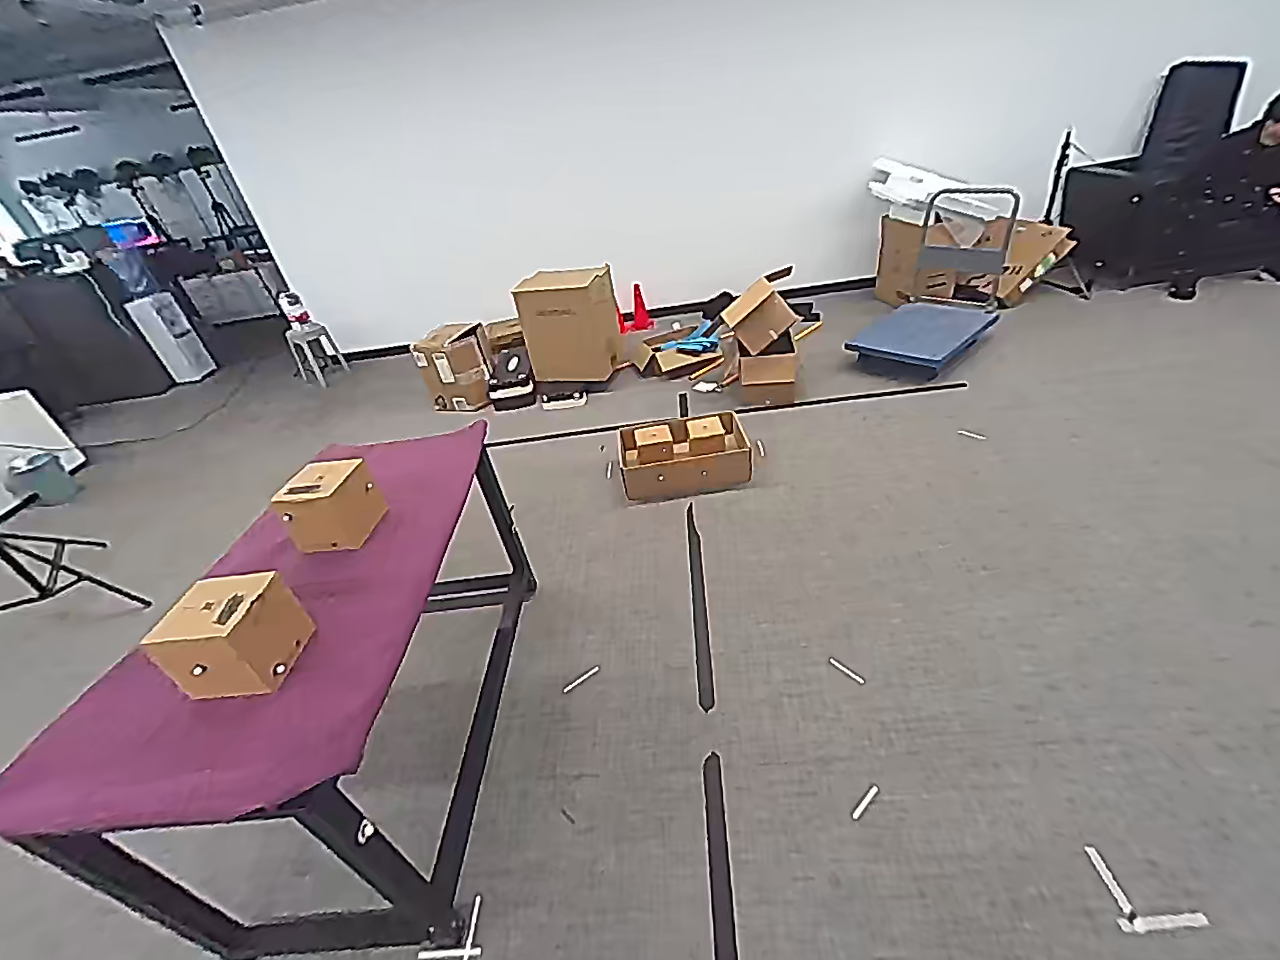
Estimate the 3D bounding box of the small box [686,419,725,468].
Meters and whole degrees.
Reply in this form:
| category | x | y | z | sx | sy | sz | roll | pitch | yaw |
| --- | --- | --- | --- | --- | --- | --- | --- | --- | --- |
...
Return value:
| category | x | y | z | sx | sy | sz | roll | pitch | yaw |
| --- | --- | --- | --- | --- | --- | --- | --- | --- | --- |
| small box | 0.328 | -0.181 | 2.707 | 0.168 | 0.176 | 0.179 | -10 | 34 | 2 |

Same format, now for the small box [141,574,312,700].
| category | x | y | z | sx | sy | sz | roll | pitch | yaw |
| --- | --- | --- | --- | --- | --- | --- | --- | --- | --- |
| small box | -0.795 | 0.310 | 1.066 | 0.179 | 0.176 | 0.168 | -7 | 34 | 5 |

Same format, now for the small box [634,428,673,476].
| category | x | y | z | sx | sy | sz | roll | pitch | yaw |
| --- | --- | --- | --- | --- | --- | --- | --- | --- | --- |
| small box | 0.071 | -0.141 | 2.711 | 0.179 | 0.176 | 0.168 | -9 | 33 | -1 |
